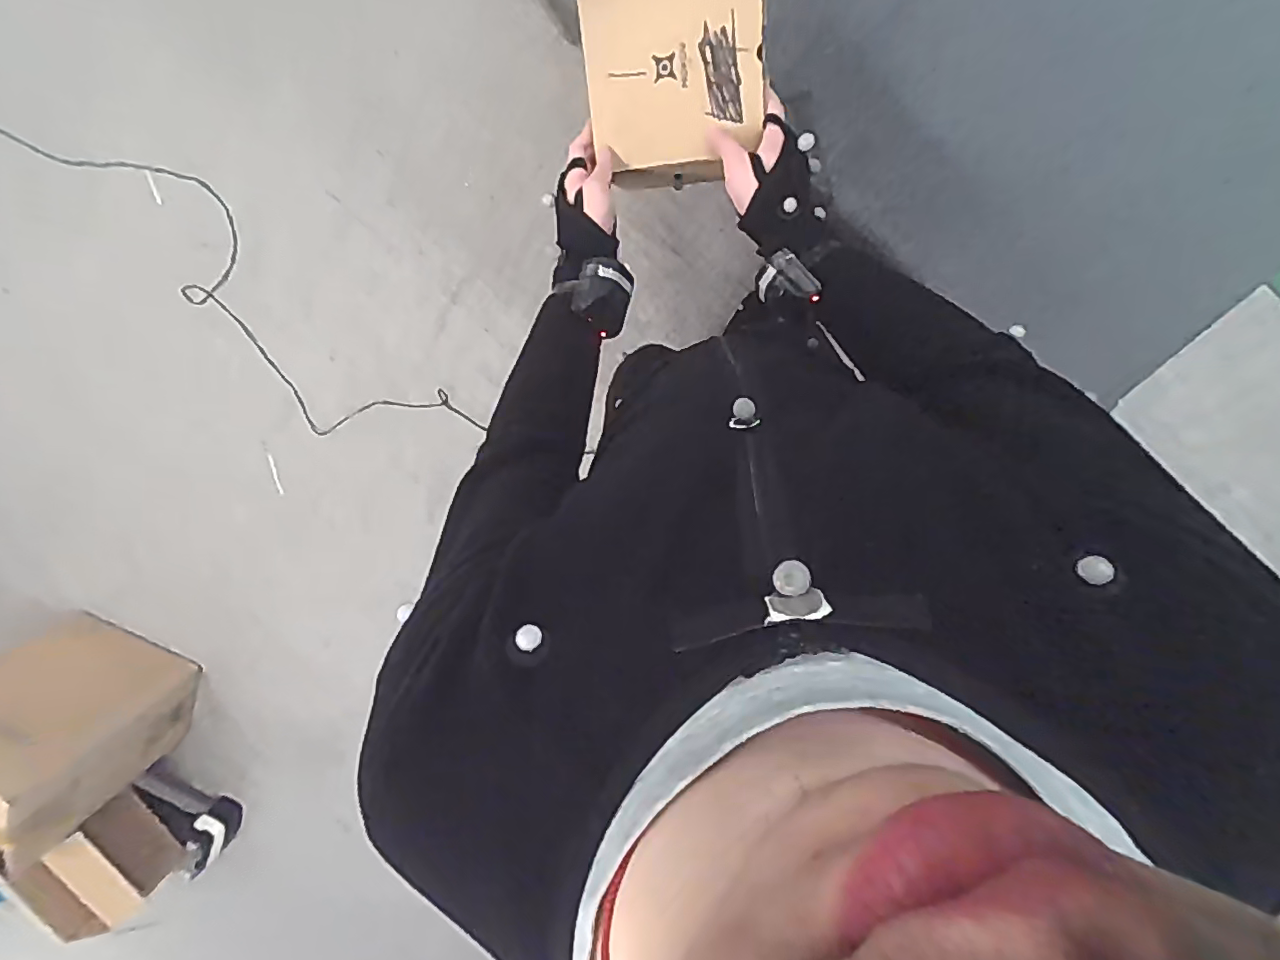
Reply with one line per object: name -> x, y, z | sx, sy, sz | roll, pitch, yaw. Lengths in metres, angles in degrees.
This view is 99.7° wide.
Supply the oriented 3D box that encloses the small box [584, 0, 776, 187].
small box -> 0.047, -0.422, 0.578 | 0.179, 0.176, 0.168 | -1, 111, 9
